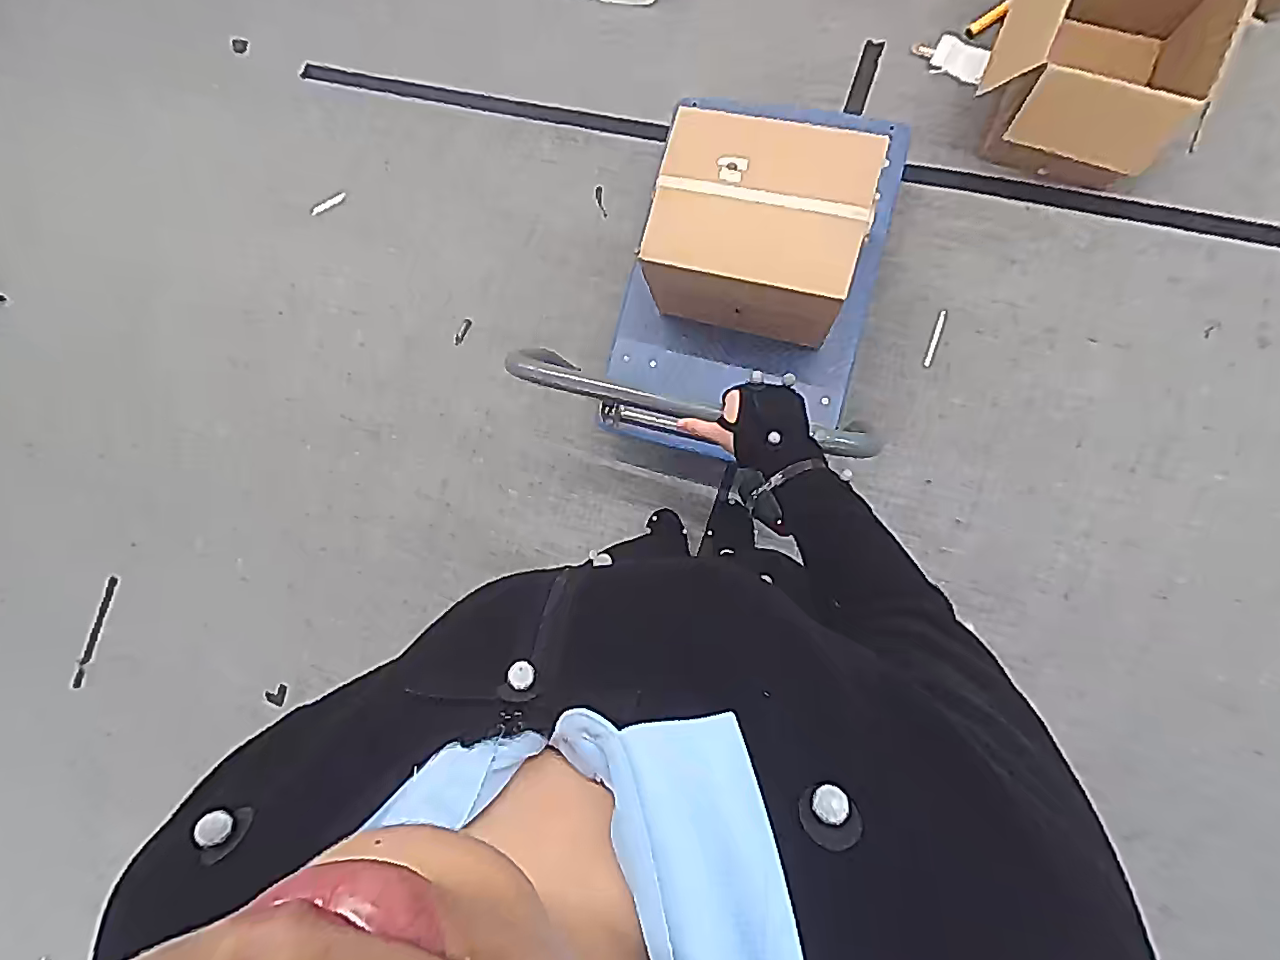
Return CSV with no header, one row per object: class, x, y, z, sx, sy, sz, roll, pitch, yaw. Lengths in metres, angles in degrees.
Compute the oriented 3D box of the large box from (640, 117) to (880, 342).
large box,0.253,-0.524,1.185,0.408,0.320,0.320,15,89,11
